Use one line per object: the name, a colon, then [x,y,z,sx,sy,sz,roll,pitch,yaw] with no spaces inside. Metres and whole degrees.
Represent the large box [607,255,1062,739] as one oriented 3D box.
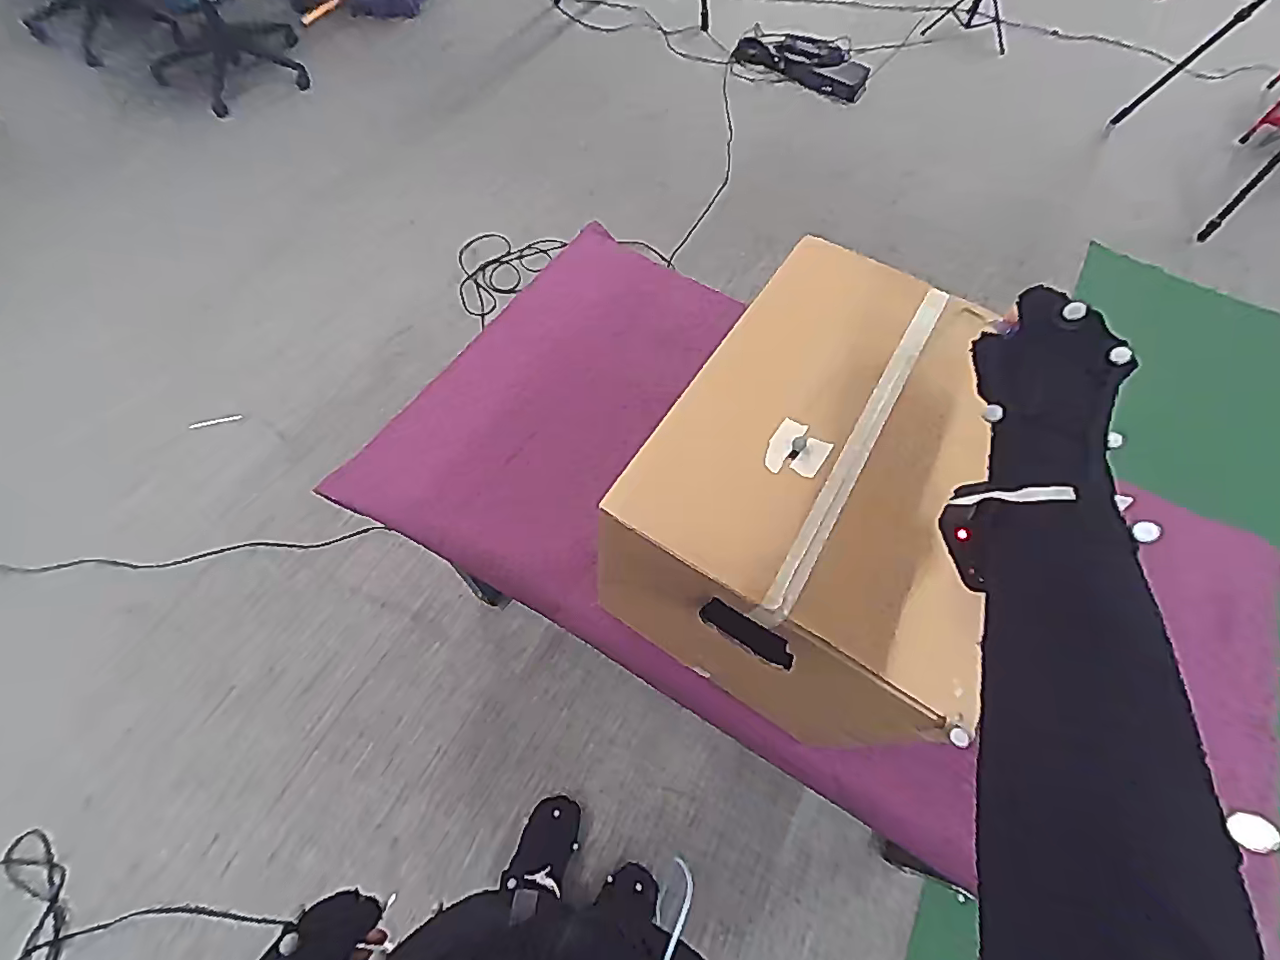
large box: [0.195,0.031,0.637,0.320,0.320,0.408,31,65,12]
